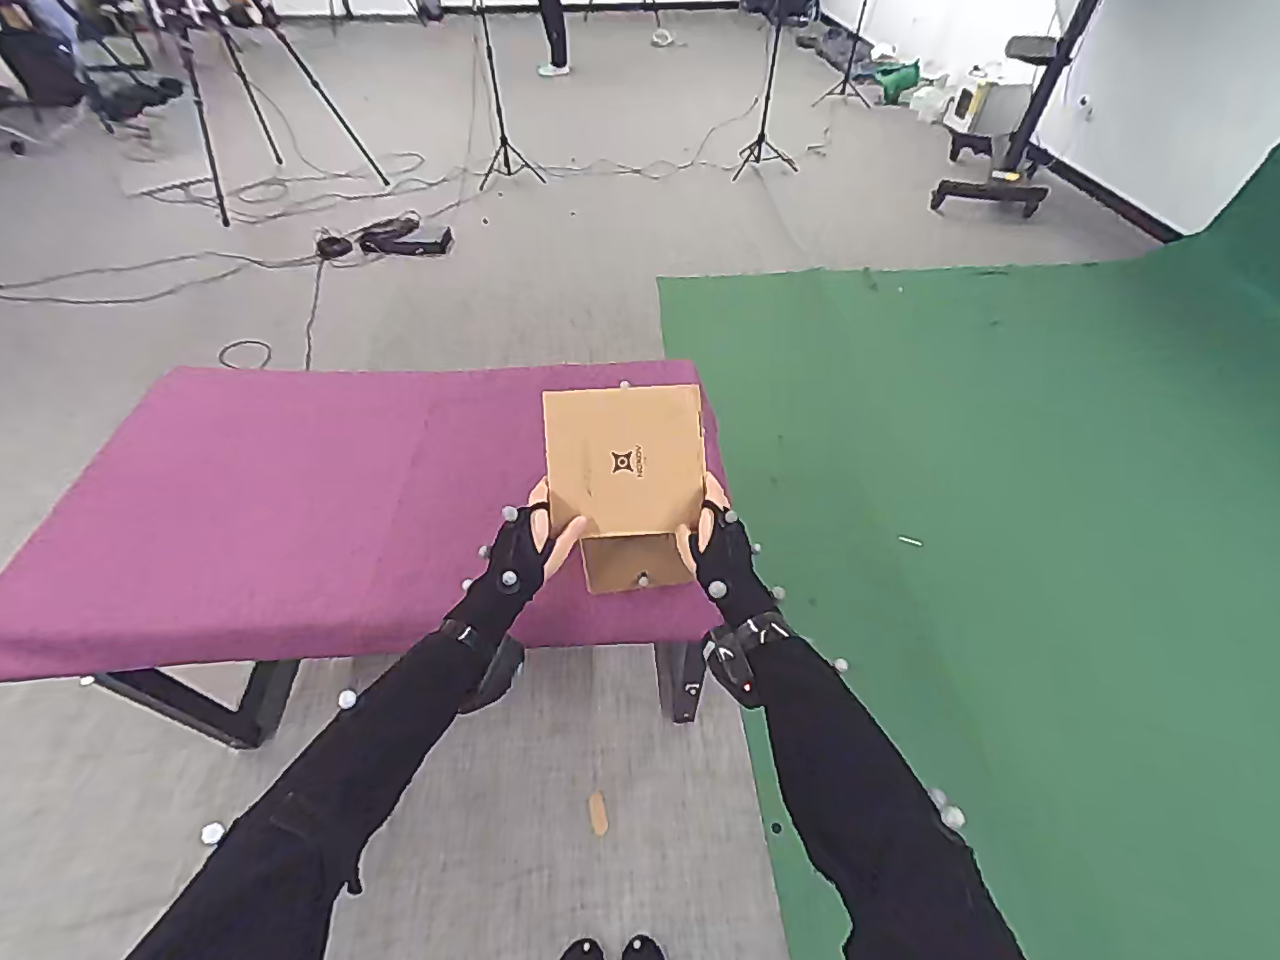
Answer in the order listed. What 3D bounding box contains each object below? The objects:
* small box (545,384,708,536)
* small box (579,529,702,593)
[{"bbox_3d":[-0.019,-0.020,0.676,0.179,0.176,0.168,-3,87,-2],"label":"small box"},{"bbox_3d":[-0.008,0.063,0.863,0.179,0.176,0.168,-6,50,-5],"label":"small box"}]
